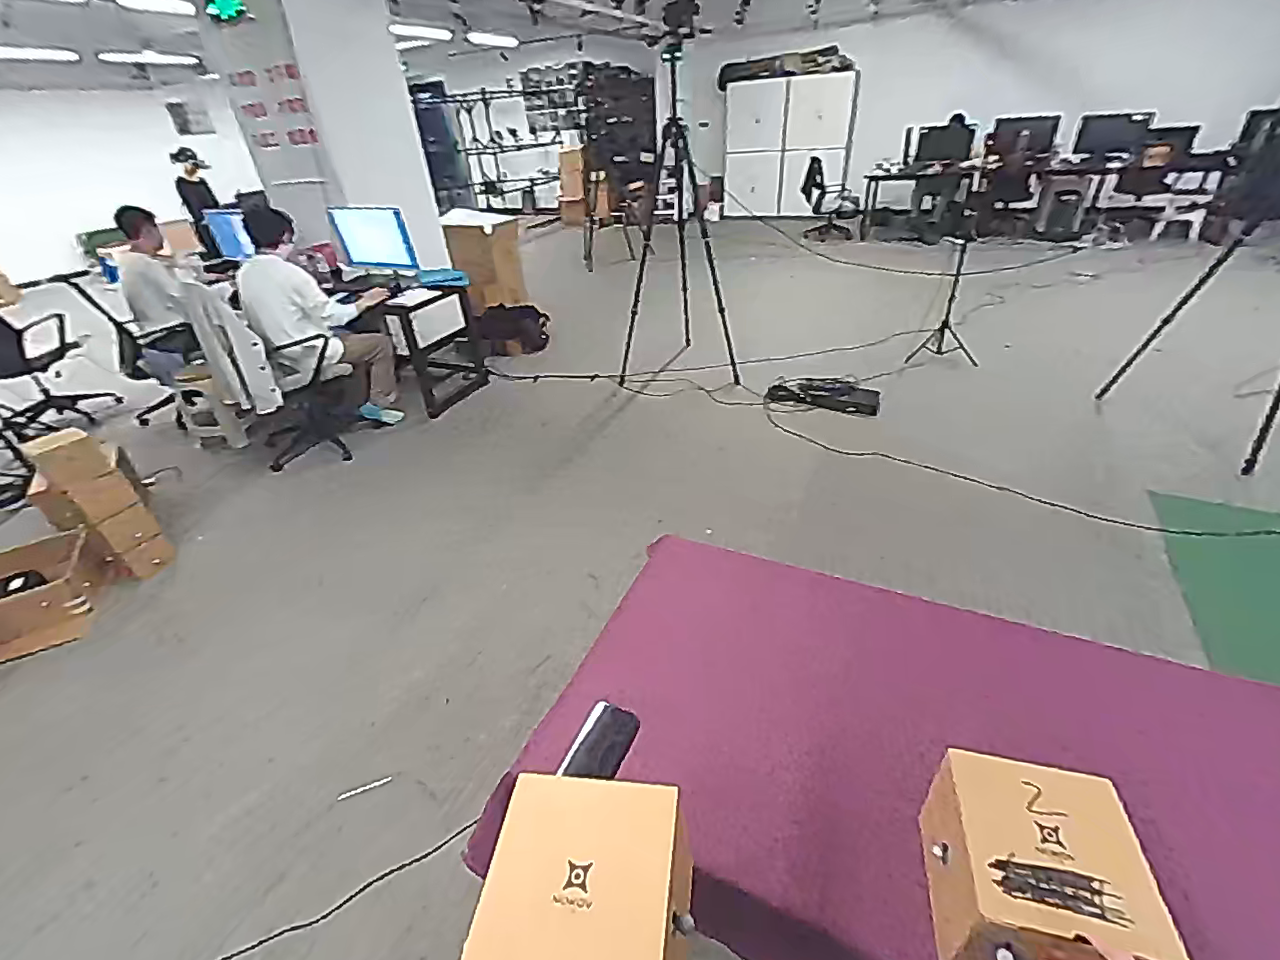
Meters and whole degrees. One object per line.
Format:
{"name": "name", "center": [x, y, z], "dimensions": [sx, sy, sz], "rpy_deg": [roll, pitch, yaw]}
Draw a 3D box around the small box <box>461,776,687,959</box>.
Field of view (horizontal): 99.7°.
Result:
{"name": "small box", "center": [-0.047, 0.420, 0.519], "dimensions": [0.168, 0.176, 0.179], "rpy_deg": [-1, 37, 11]}
